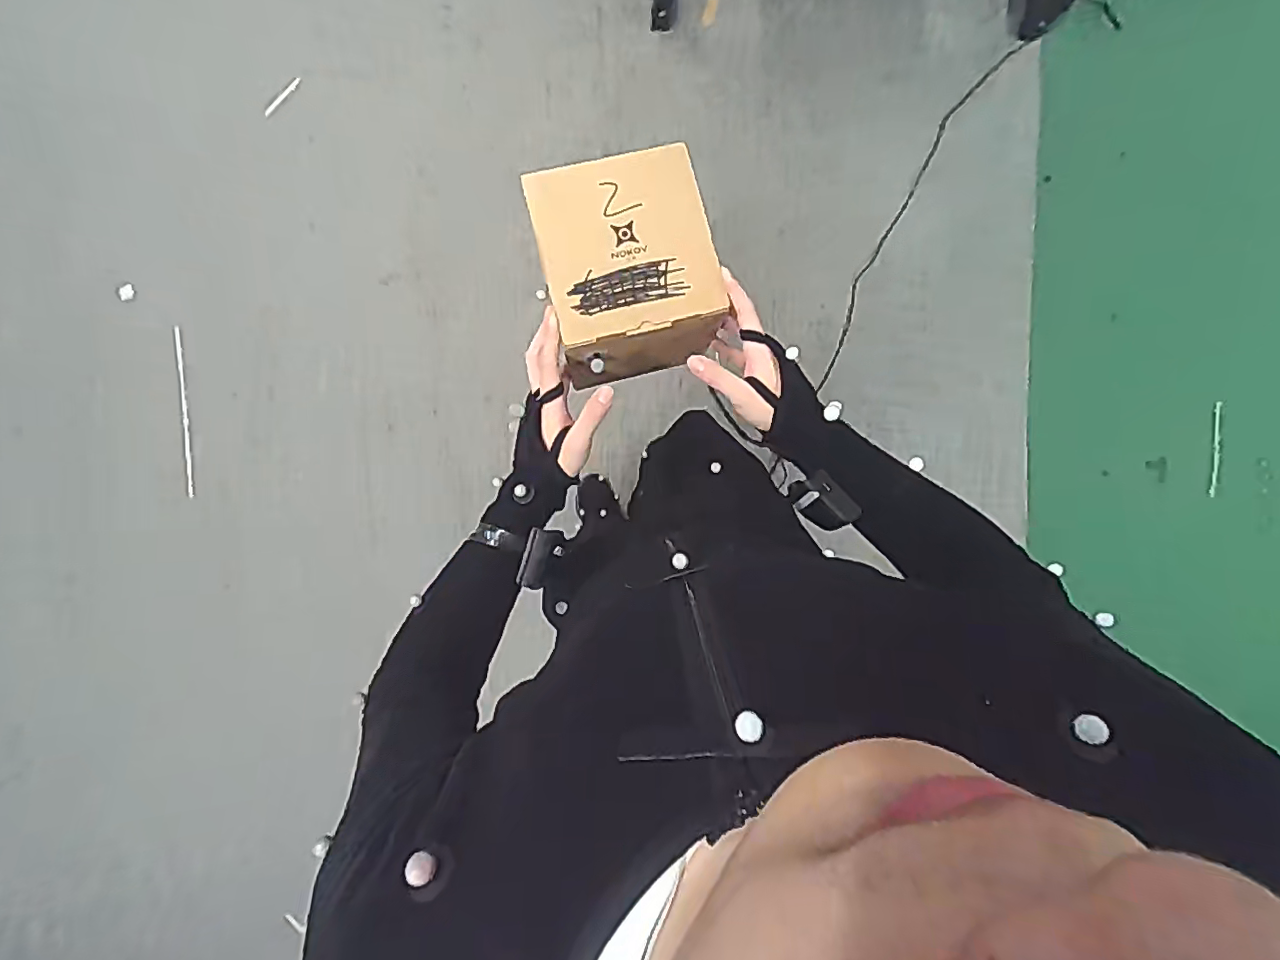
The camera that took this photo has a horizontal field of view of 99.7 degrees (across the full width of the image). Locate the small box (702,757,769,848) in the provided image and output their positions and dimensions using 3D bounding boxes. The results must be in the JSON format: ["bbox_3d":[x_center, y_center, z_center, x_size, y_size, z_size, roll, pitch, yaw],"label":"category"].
[{"bbox_3d":[0.278,0.946,1.605,0.168,0.176,0.179,-1,93,-4],"label":"small box"}]
